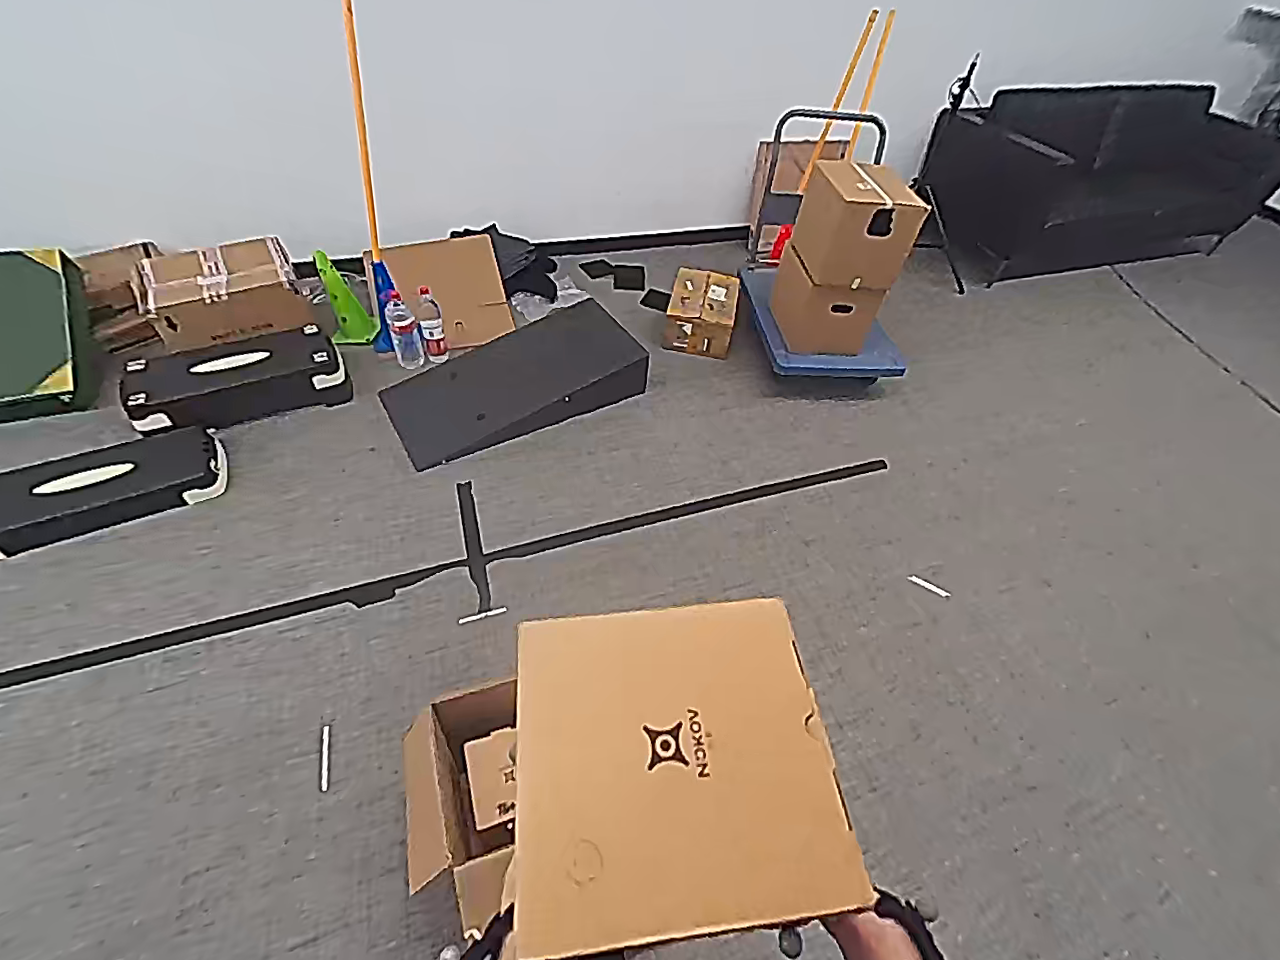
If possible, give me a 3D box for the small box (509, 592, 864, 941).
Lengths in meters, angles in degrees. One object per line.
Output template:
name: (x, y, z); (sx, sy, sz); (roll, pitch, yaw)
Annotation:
small box: (0.014, 0.195, 0.367); (0.179, 0.176, 0.168); (-4, 52, -7)
